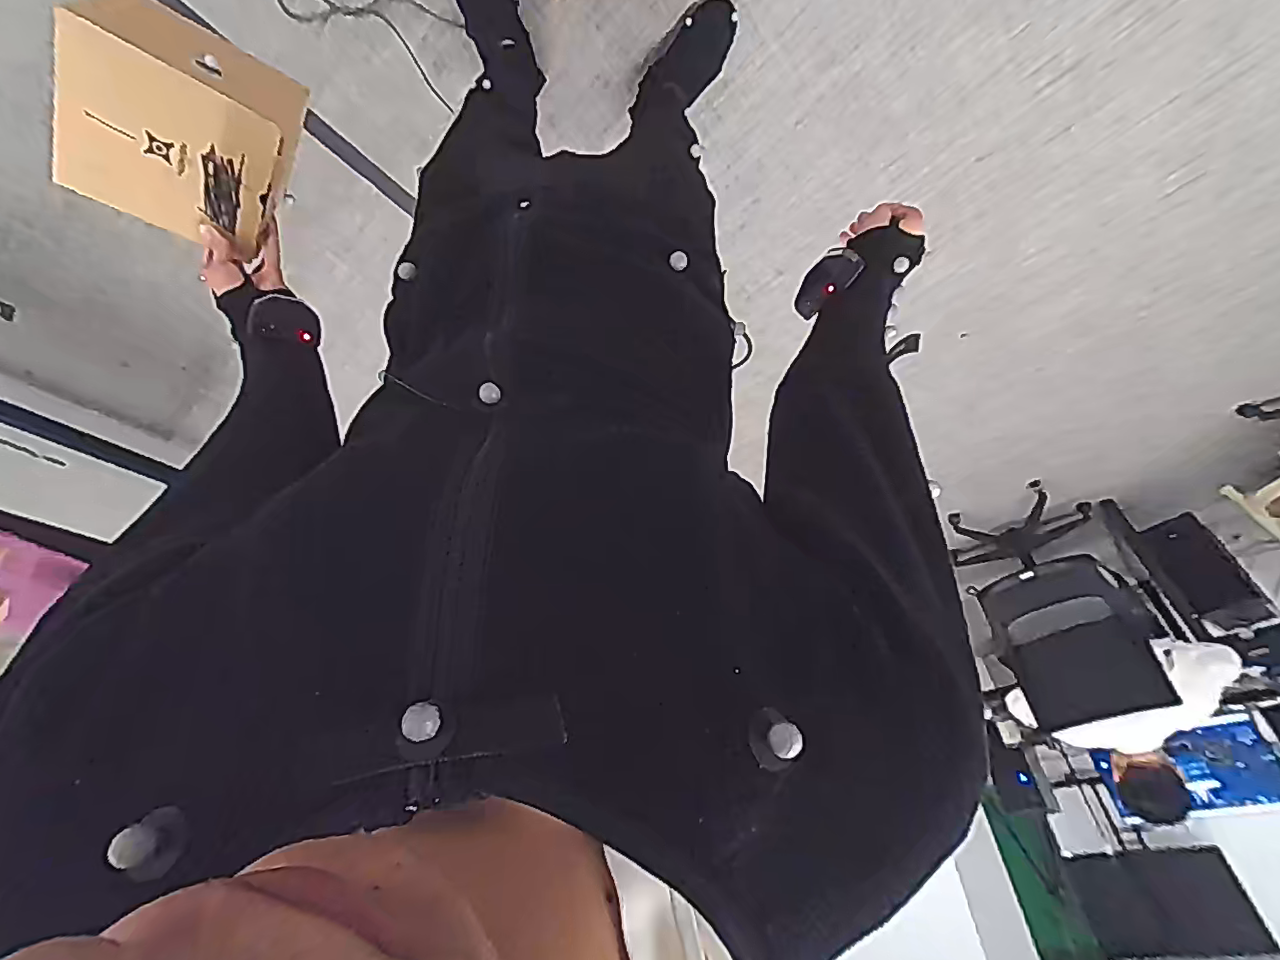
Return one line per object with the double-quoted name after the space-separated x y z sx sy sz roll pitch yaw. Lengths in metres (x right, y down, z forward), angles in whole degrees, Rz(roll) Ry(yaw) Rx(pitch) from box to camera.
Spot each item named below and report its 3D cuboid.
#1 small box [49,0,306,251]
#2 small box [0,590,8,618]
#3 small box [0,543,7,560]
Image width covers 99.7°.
-0.496 -0.398 0.600 0.179 0.176 0.168 18 126 -33 "small box"
-1.726 0.350 1.329 0.168 0.176 0.179 31 130 -34 "small box"
-1.541 0.201 1.155 0.168 0.176 0.179 -30 133 30 "small box"
